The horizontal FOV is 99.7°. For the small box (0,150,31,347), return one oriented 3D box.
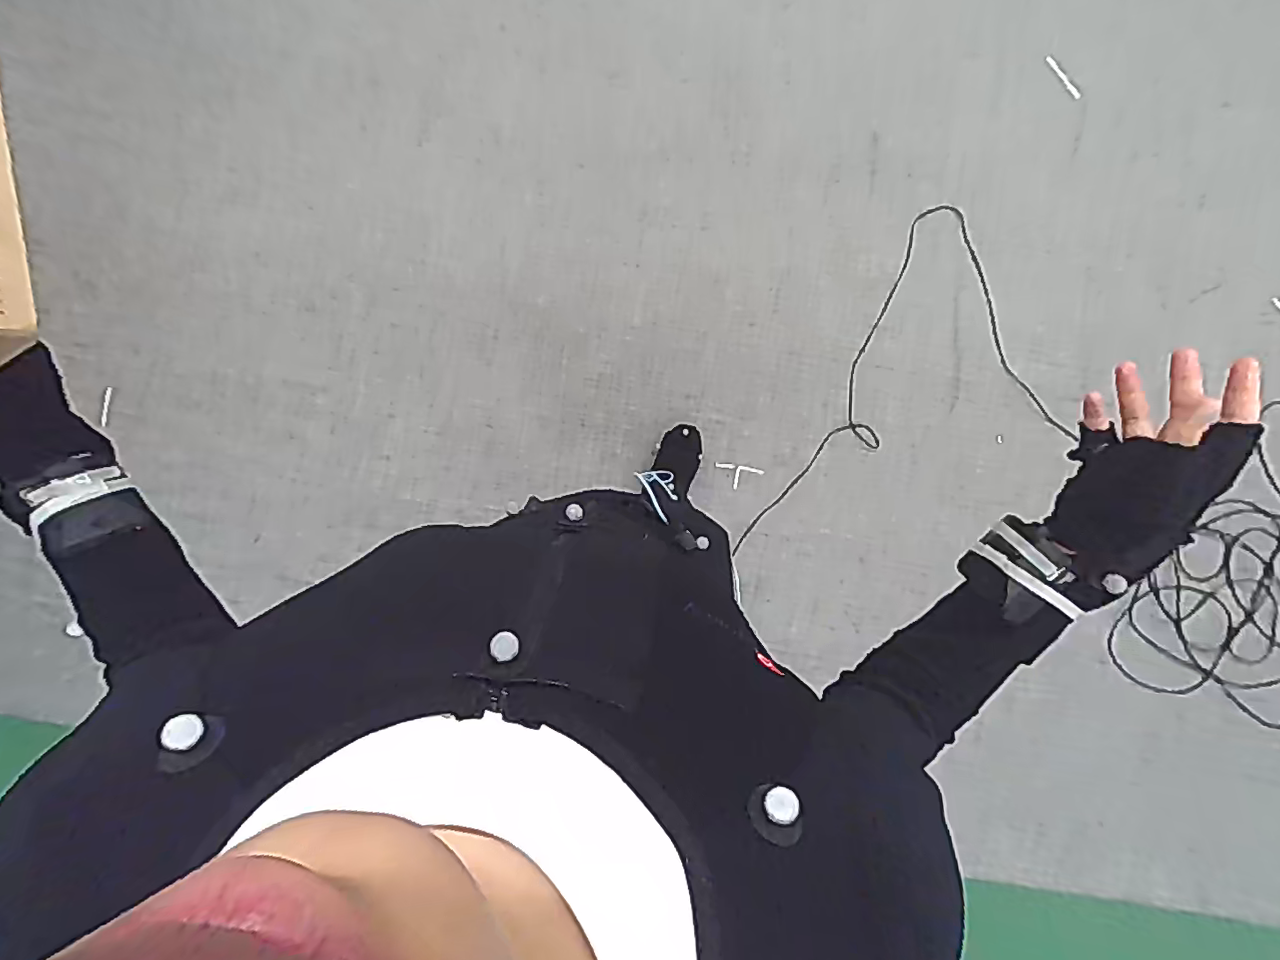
[{"bbox_3d":[-0.450,-0.156,0.259,0.168,0.176,0.179,-6,93,29],"label":"small box"}]
